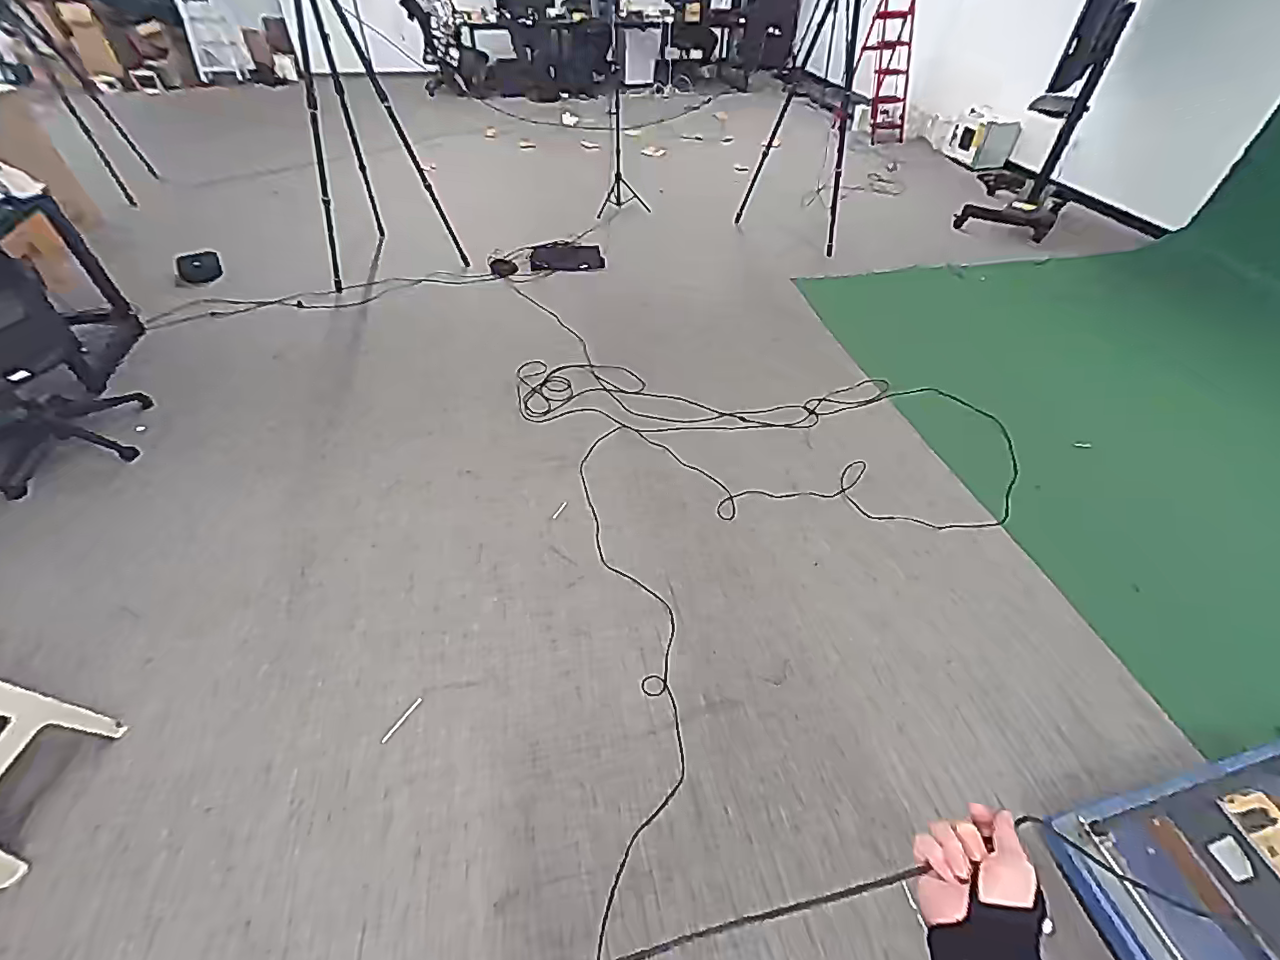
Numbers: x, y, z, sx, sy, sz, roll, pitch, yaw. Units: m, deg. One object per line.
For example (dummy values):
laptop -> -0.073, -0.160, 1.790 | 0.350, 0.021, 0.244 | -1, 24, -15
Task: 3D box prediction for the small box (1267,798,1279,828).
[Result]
small box -> 1.540, 0.750, 1.162 | 0.179, 0.176, 0.168 | -13, 48, -12
